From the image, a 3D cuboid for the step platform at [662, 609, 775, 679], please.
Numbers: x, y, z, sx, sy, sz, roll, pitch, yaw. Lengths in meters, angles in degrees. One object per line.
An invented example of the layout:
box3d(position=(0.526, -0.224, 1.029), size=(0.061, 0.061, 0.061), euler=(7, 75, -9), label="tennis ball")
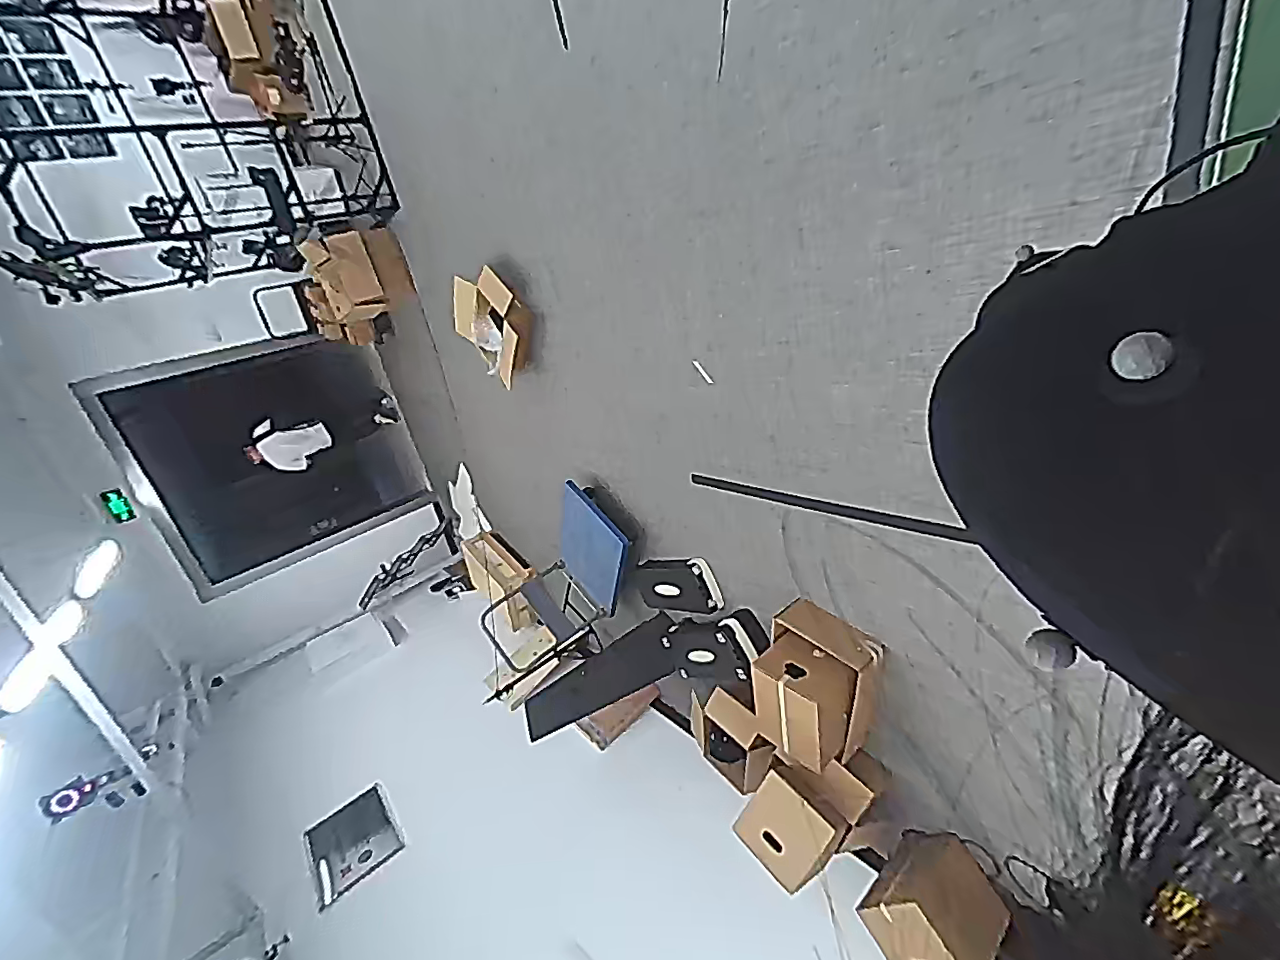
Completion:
box3d(position=(0.386, 0.878, 2.852), size=(0.286, 0.204, 0.684), euler=(60, 147, 3), label="step platform")
